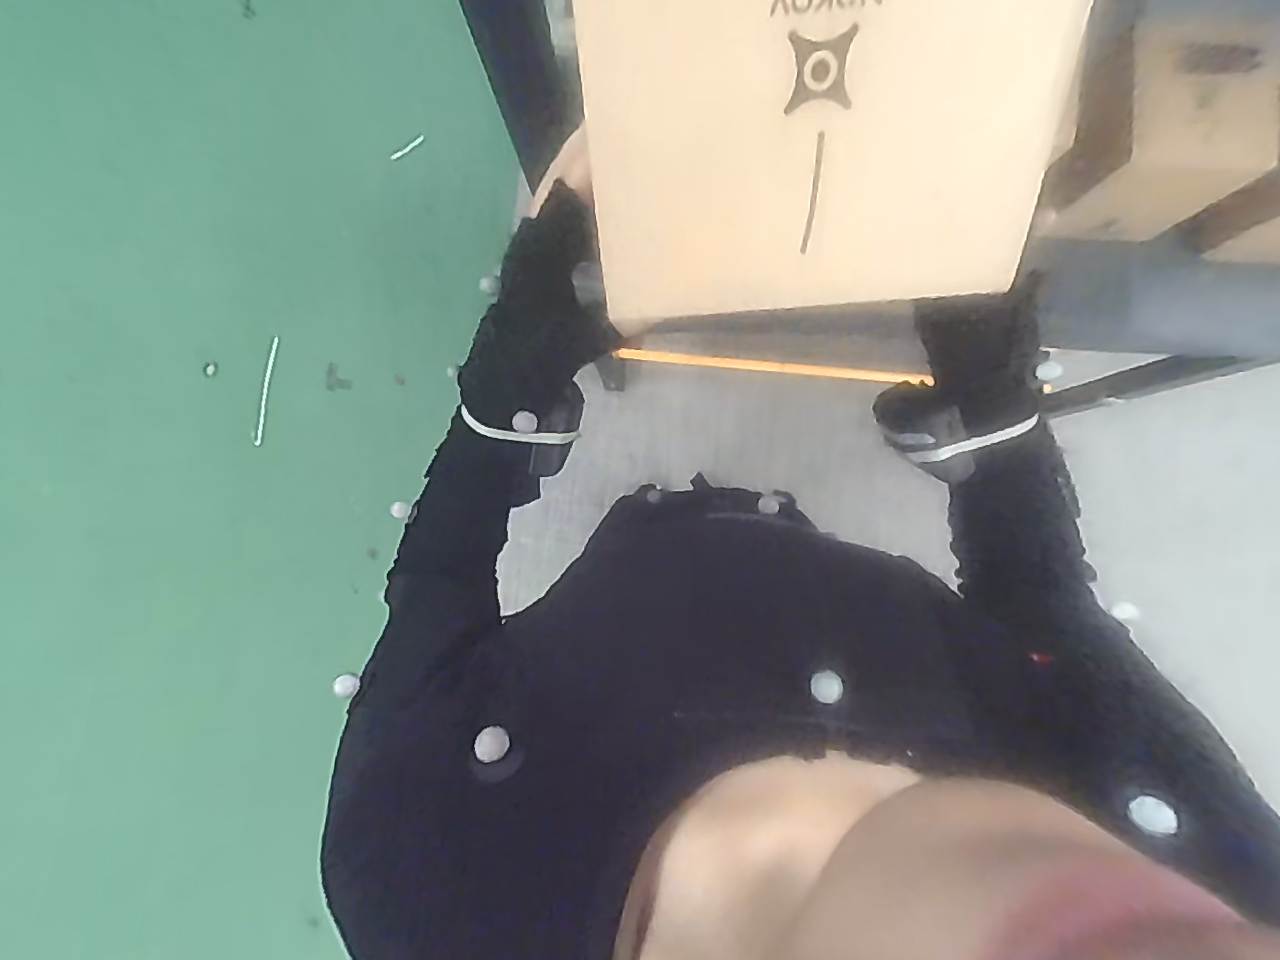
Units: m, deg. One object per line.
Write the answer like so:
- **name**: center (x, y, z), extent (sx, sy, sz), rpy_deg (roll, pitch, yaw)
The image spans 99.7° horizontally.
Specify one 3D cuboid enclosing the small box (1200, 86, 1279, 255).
- **small box**: center (0.882, -0.407, 0.695), extent (0.168, 0.176, 0.179), rpy_deg (3, 85, 2)
